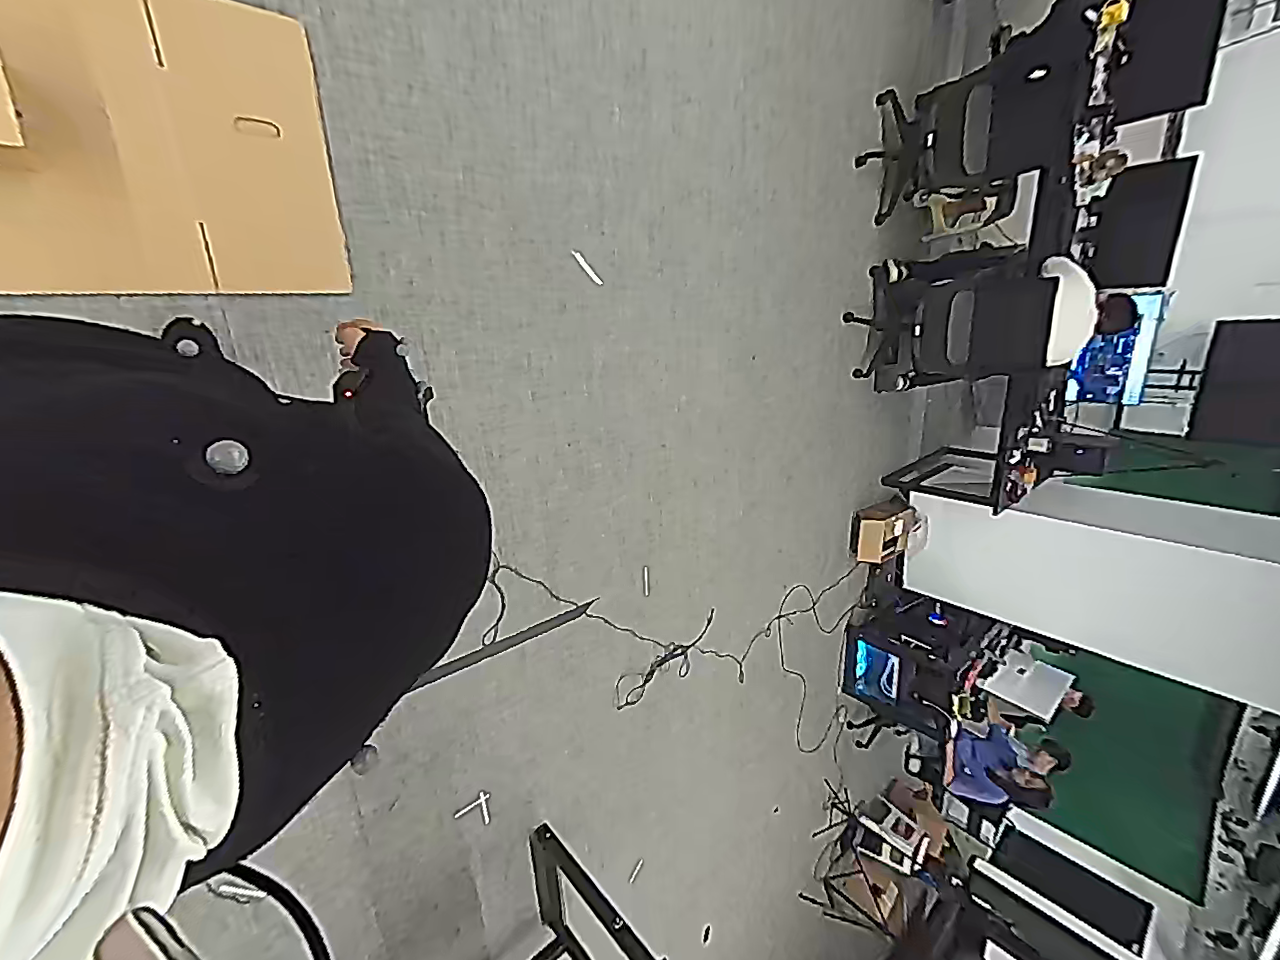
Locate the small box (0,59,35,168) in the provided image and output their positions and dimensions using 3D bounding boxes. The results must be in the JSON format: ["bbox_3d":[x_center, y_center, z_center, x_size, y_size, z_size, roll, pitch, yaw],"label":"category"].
[{"bbox_3d":[-1.172,-0.647,0.911,0.168,0.176,0.179,-14,111,-39],"label":"small box"}]
